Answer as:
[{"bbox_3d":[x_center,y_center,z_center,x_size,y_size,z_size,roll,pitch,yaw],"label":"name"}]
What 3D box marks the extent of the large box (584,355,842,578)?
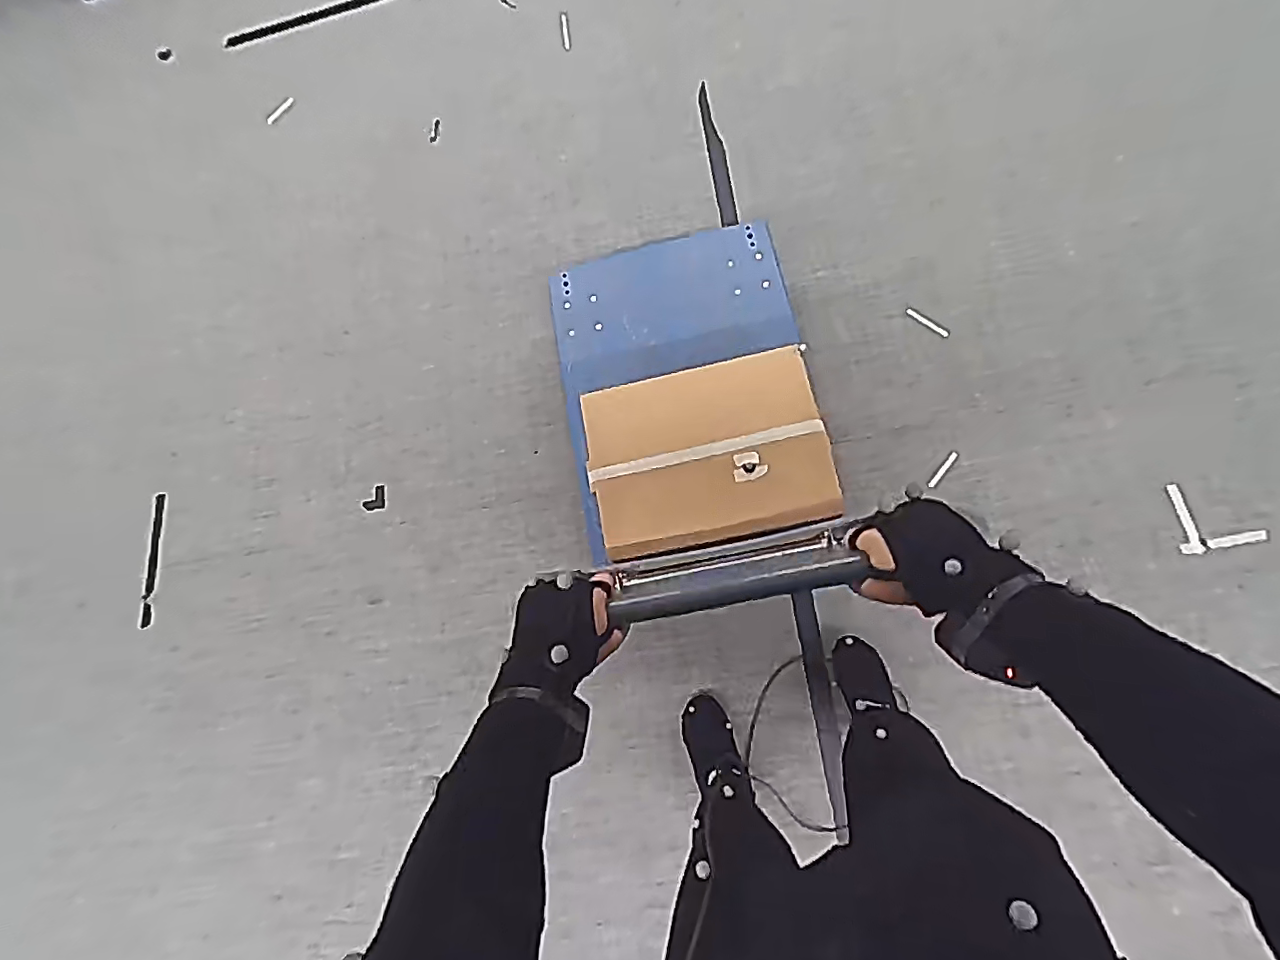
[{"bbox_3d":[0.135,-0.001,1.094,0.408,0.320,0.320,-13,76,5],"label":"large box"}]
